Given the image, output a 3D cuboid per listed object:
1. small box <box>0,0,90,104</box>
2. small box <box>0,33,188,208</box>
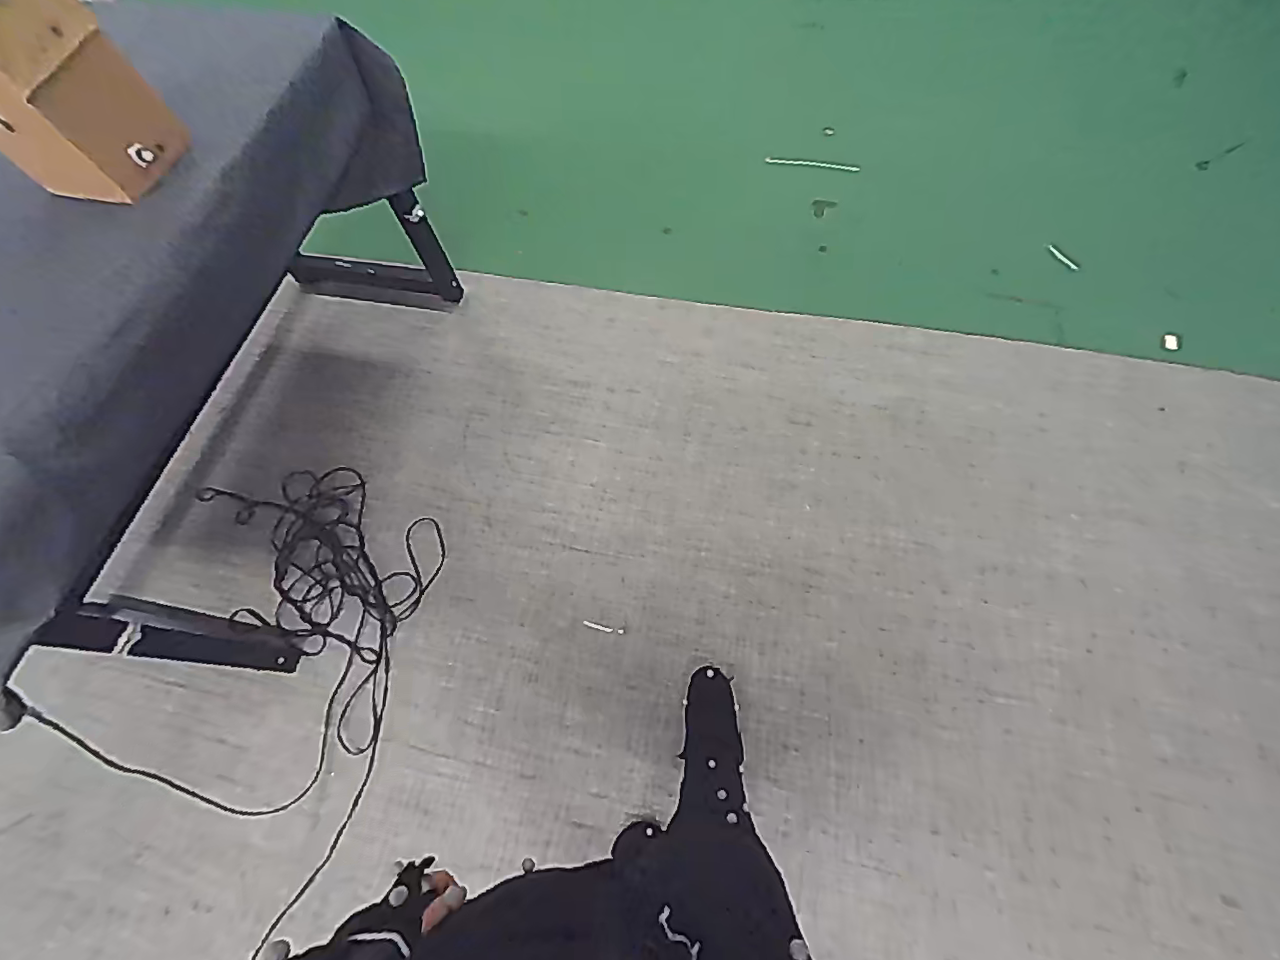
[{"bbox_3d":[-0.874,-0.607,0.677,0.179,0.176,0.168,9,68,10],"label":"small box"},{"bbox_3d":[-0.869,-0.547,0.828,0.179,0.176,0.168,11,68,8],"label":"small box"}]
